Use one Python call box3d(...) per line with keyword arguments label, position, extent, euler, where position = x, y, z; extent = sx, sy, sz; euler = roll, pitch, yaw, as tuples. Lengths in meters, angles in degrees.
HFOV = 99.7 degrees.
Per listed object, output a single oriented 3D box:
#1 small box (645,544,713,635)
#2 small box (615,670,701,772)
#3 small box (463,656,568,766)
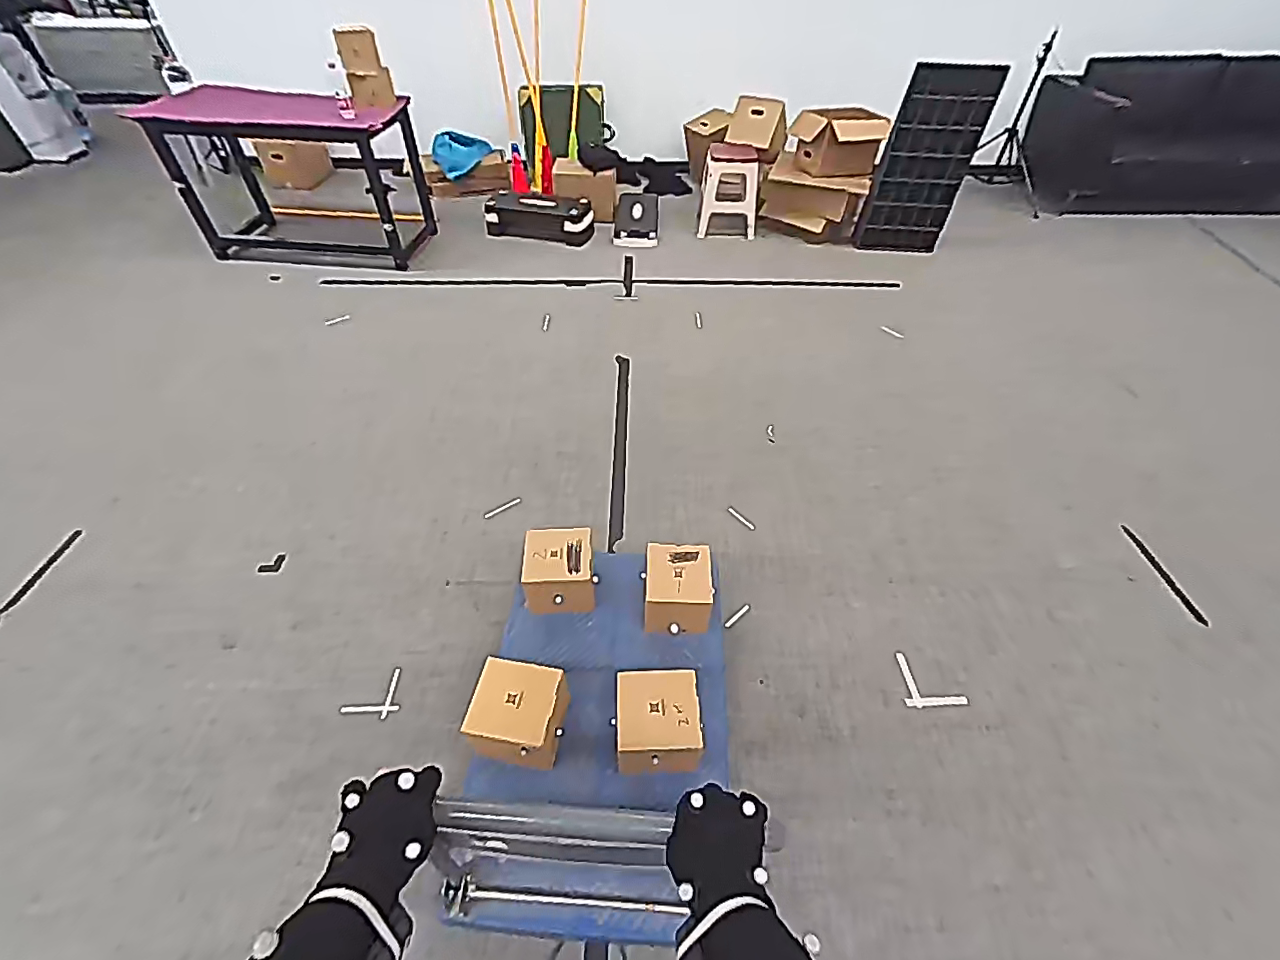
box3d(label="small box", position=(0.100, 0.290, 1.435), extent=(0.168, 0.176, 0.179), euler=(2, 48, 1))
box3d(label="small box", position=(0.036, 0.537, 1.203), extent=(0.179, 0.176, 0.168), euler=(0, 47, -1))
box3d(label="small box", position=(-0.270, 0.521, 1.213), extent=(0.179, 0.176, 0.168), euler=(8, 46, 5))
